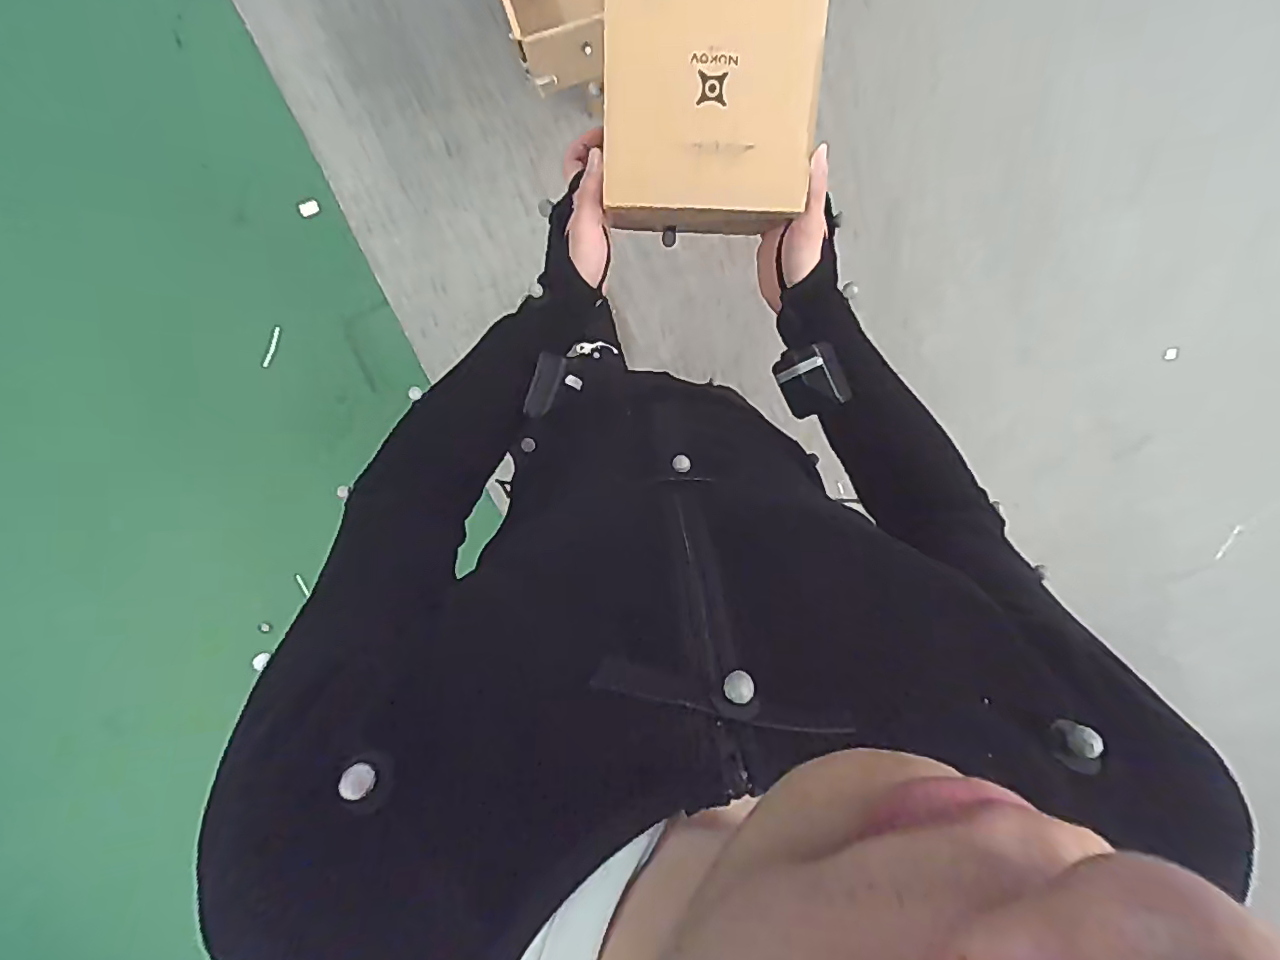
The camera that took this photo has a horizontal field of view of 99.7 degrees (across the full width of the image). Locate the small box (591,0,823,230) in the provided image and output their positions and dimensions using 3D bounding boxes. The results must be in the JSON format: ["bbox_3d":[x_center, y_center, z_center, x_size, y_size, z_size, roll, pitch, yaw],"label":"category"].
[{"bbox_3d":[0.044,-0.328,0.470,0.168,0.176,0.179,2,108,-2],"label":"small box"}]
